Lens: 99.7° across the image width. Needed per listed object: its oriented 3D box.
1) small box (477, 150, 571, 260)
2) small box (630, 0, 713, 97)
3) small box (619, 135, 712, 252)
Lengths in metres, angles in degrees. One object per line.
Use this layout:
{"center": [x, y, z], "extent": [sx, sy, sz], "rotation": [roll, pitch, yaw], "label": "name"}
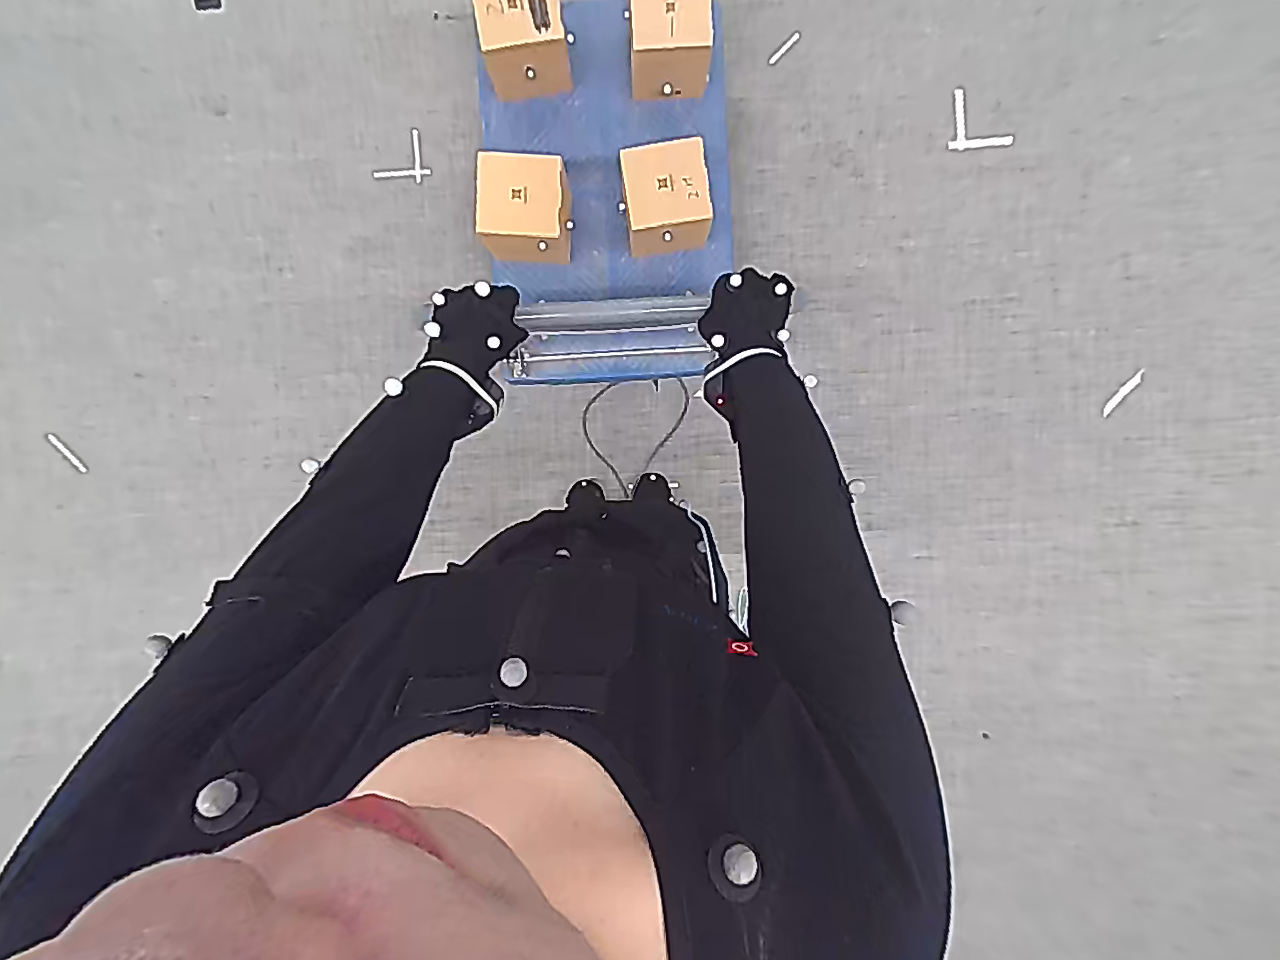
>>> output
{"center": [-0.251, -0.603, 1.202], "extent": [0.179, 0.176, 0.168], "rotation": [2, 93, -2], "label": "small box"}
{"center": [0.063, -0.979, 1.178], "extent": [0.168, 0.176, 0.179], "rotation": [-3, 95, 0], "label": "small box"}
{"center": [0.055, -0.624, 1.201], "extent": [0.179, 0.176, 0.168], "rotation": [-9, 94, 1], "label": "small box"}
